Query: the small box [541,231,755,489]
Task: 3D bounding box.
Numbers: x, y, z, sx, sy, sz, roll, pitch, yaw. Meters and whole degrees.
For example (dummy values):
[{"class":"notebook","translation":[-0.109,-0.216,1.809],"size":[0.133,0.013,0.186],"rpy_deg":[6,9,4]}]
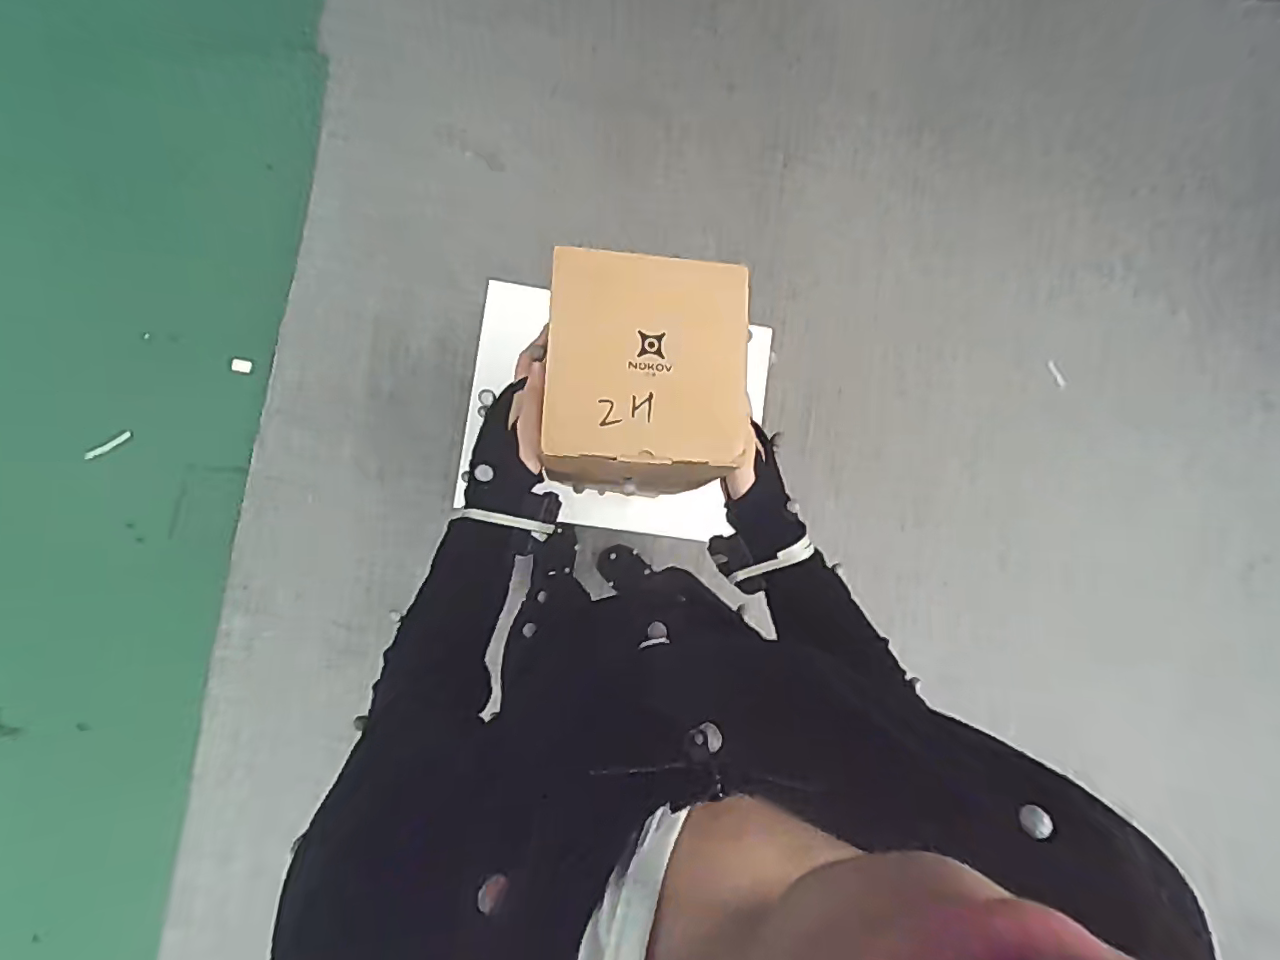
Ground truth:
[{"class":"small box","translation":[-0.001,-0.094,0.500],"size":[0.168,0.176,0.179],"rpy_deg":[3,81,-7]}]
